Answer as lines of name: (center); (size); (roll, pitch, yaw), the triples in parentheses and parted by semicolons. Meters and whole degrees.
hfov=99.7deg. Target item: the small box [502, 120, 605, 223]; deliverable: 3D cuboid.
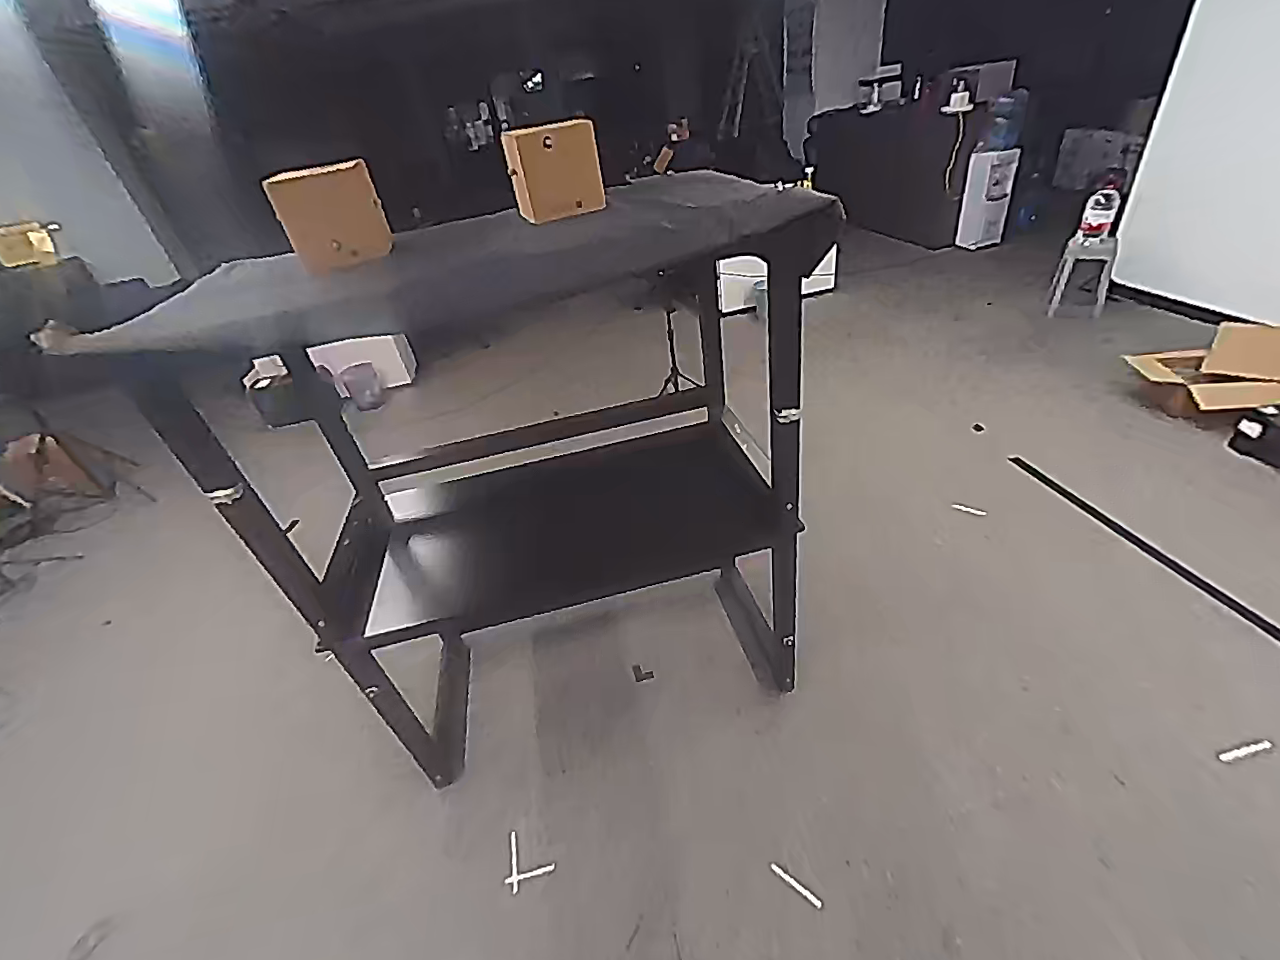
small box: (-0.189, -0.676, 1.186); (0.168, 0.176, 0.179); (-20, 36, -12)
